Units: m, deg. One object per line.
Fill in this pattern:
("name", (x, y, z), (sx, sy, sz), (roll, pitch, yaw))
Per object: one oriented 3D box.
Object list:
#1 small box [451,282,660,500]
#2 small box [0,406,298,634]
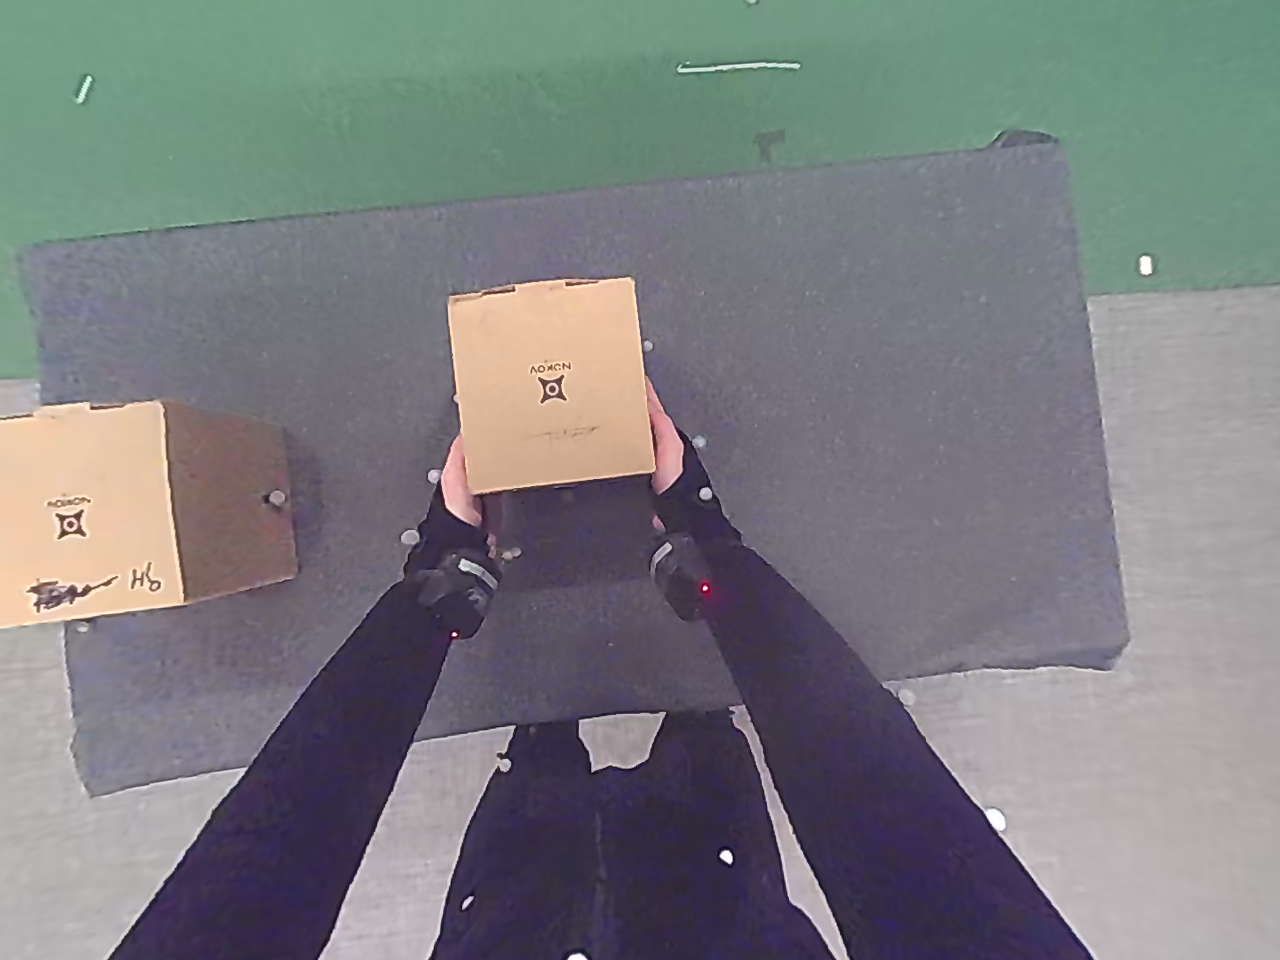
("small box", (-0.076, -0.077, 0.547), (0.168, 0.176, 0.179), (-8, 91, -1))
("small box", (-0.468, 0.036, 0.526), (0.168, 0.176, 0.179), (-7, 88, -2))
